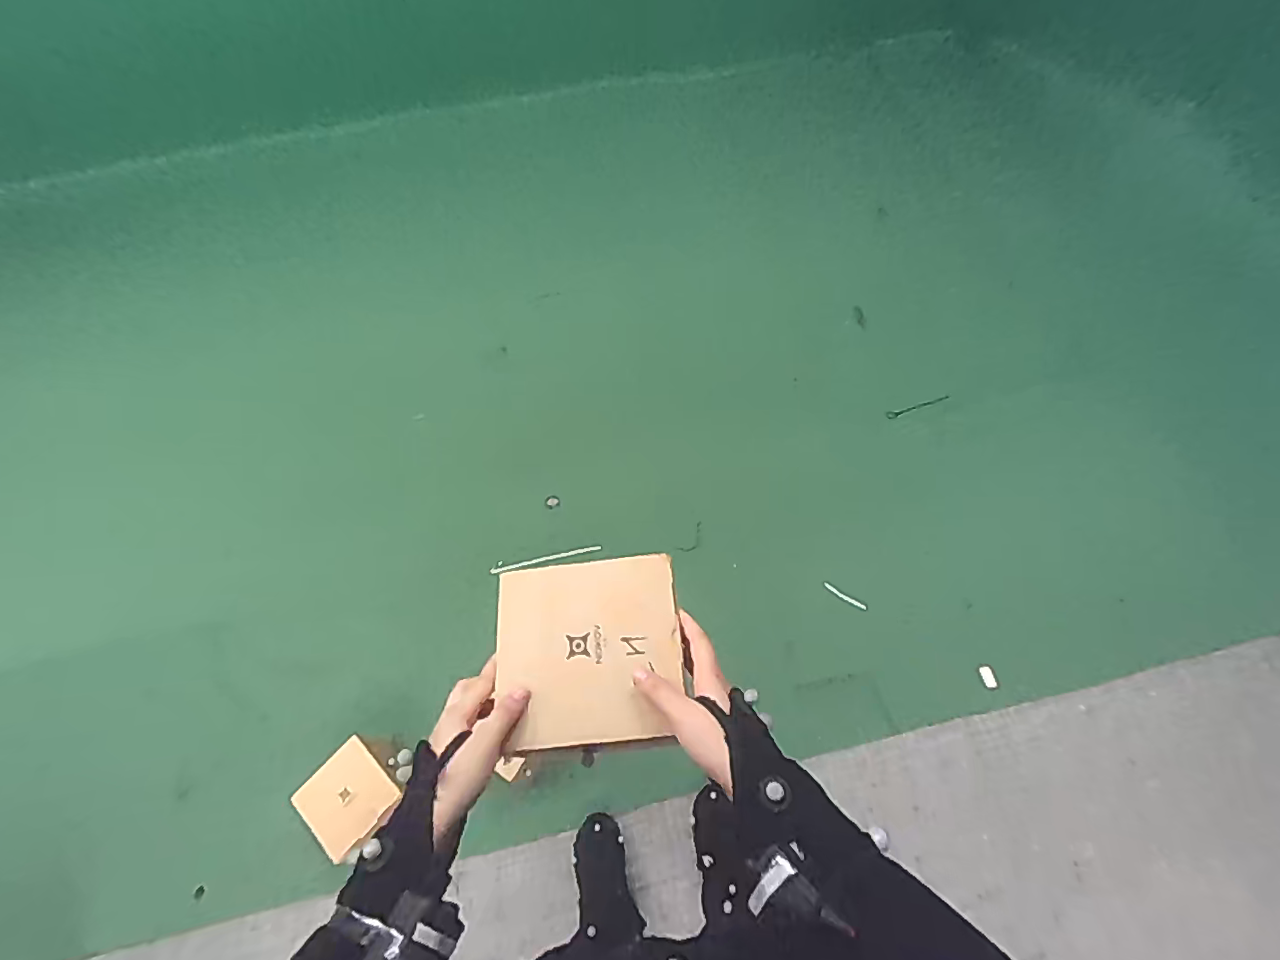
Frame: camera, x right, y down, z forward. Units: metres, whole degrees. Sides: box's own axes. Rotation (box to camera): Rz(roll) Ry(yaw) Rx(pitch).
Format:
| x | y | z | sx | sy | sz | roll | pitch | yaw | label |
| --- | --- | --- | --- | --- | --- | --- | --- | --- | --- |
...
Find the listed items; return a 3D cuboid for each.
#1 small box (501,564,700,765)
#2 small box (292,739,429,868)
| x | y | z | sx | sy | sz | roll | pitch | yaw | label |
| --- | --- | --- | --- | --- | --- | --- | --- | --- | --- |
| -0.033 | 0.201 | 0.570 | 0.179 | 0.176 | 0.168 | -7 | 62 | 2 | small box |
| -0.605 | 0.707 | 1.191 | 0.179 | 0.176 | 0.168 | 36 | 68 | 19 | small box |
